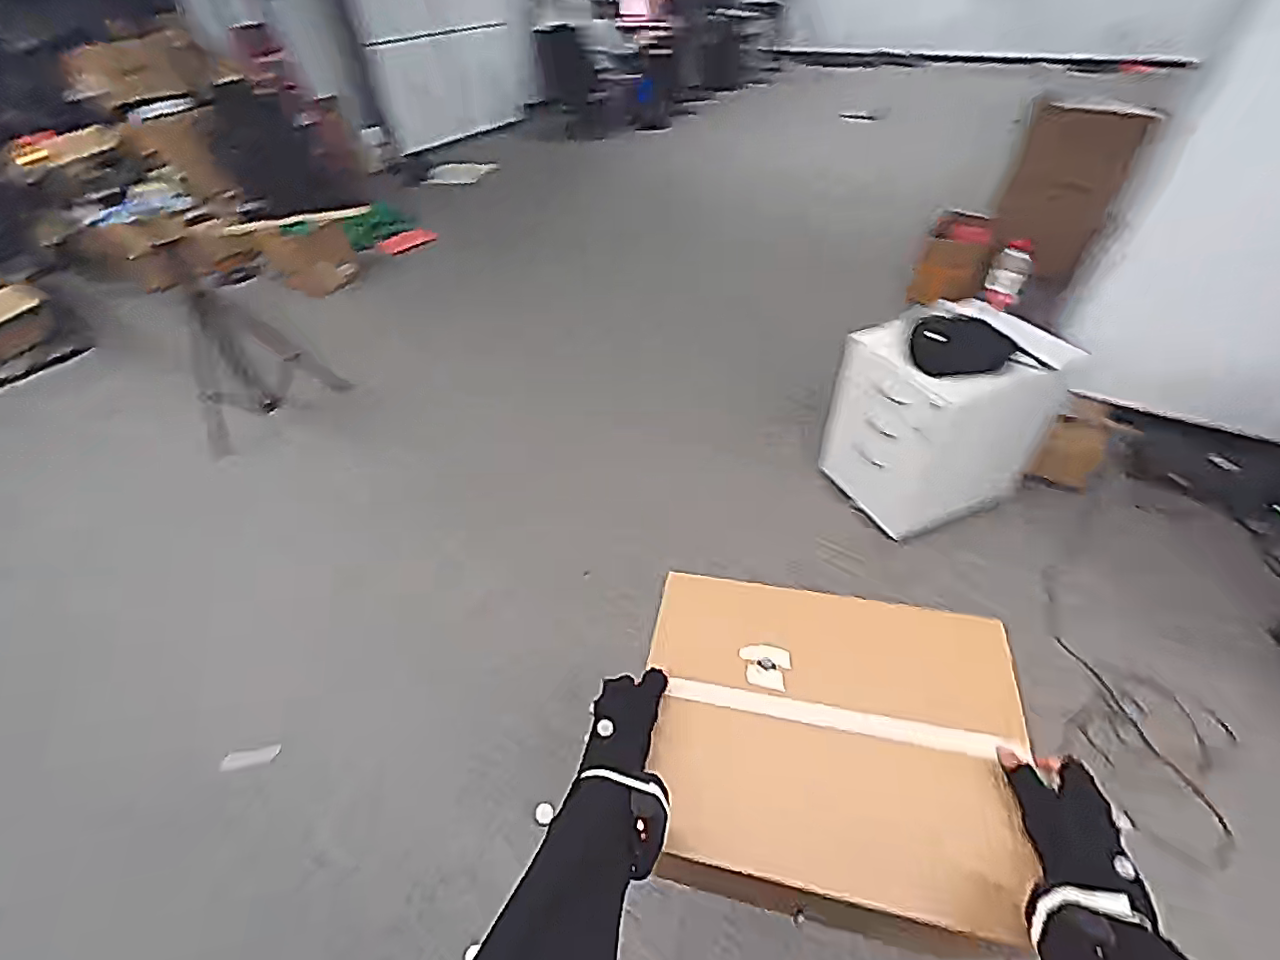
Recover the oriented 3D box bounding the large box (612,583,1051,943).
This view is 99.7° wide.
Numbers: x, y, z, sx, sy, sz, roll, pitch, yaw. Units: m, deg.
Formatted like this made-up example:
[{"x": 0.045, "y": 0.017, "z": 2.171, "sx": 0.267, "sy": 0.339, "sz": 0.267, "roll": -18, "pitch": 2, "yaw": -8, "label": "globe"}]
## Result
[{"x": 0.212, "y": 0.366, "z": 0.711, "sx": 0.408, "sy": 0.320, "sz": 0.320, "roll": 5, "pitch": 49, "yaw": 13, "label": "large box"}]
